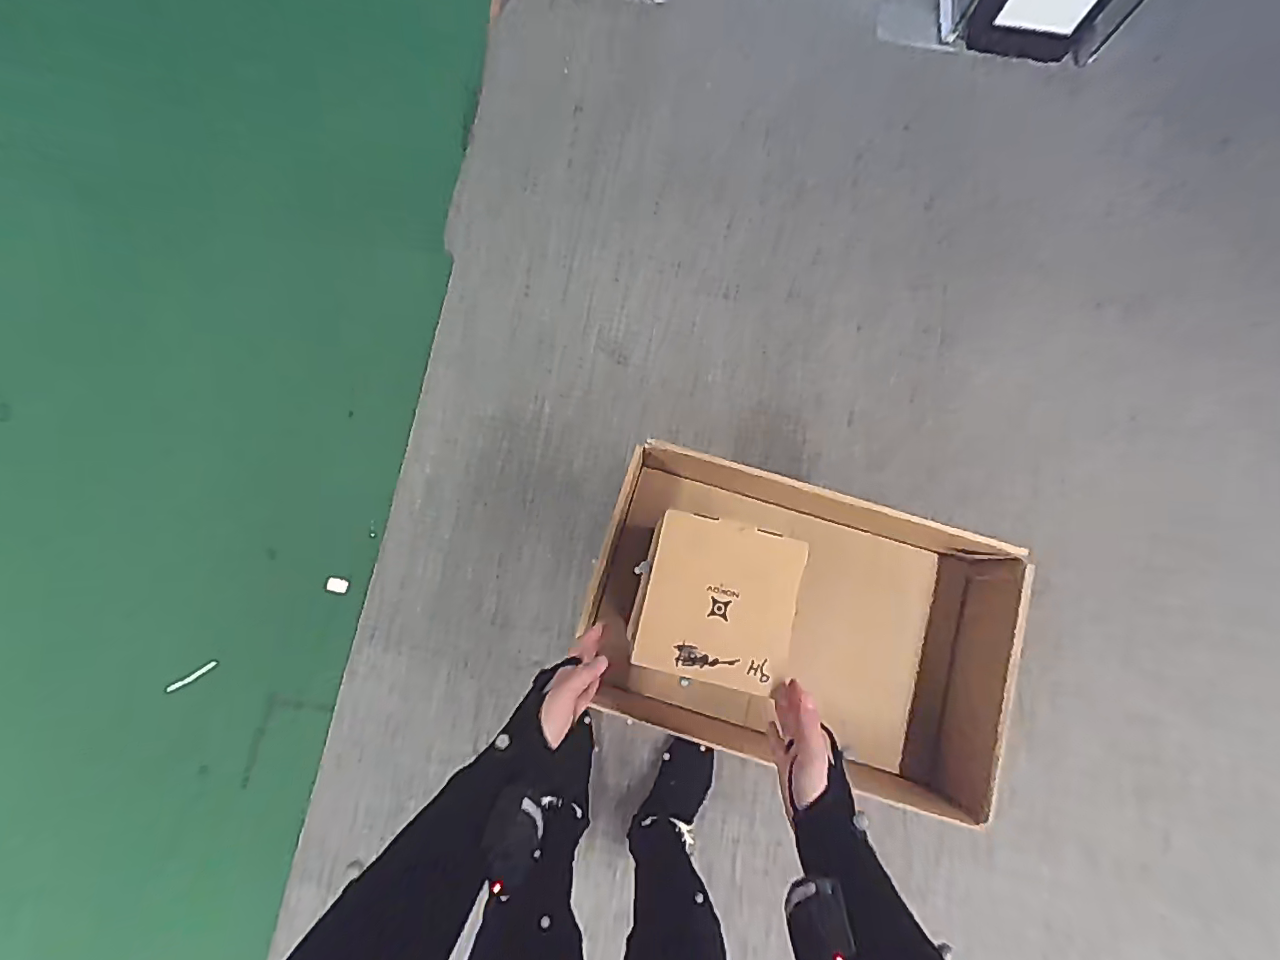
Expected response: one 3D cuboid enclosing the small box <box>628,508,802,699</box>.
[{"bbox_3d":[0.085,0.147,0.672,0.168,0.176,0.179,13,80,3],"label":"small box"}]
